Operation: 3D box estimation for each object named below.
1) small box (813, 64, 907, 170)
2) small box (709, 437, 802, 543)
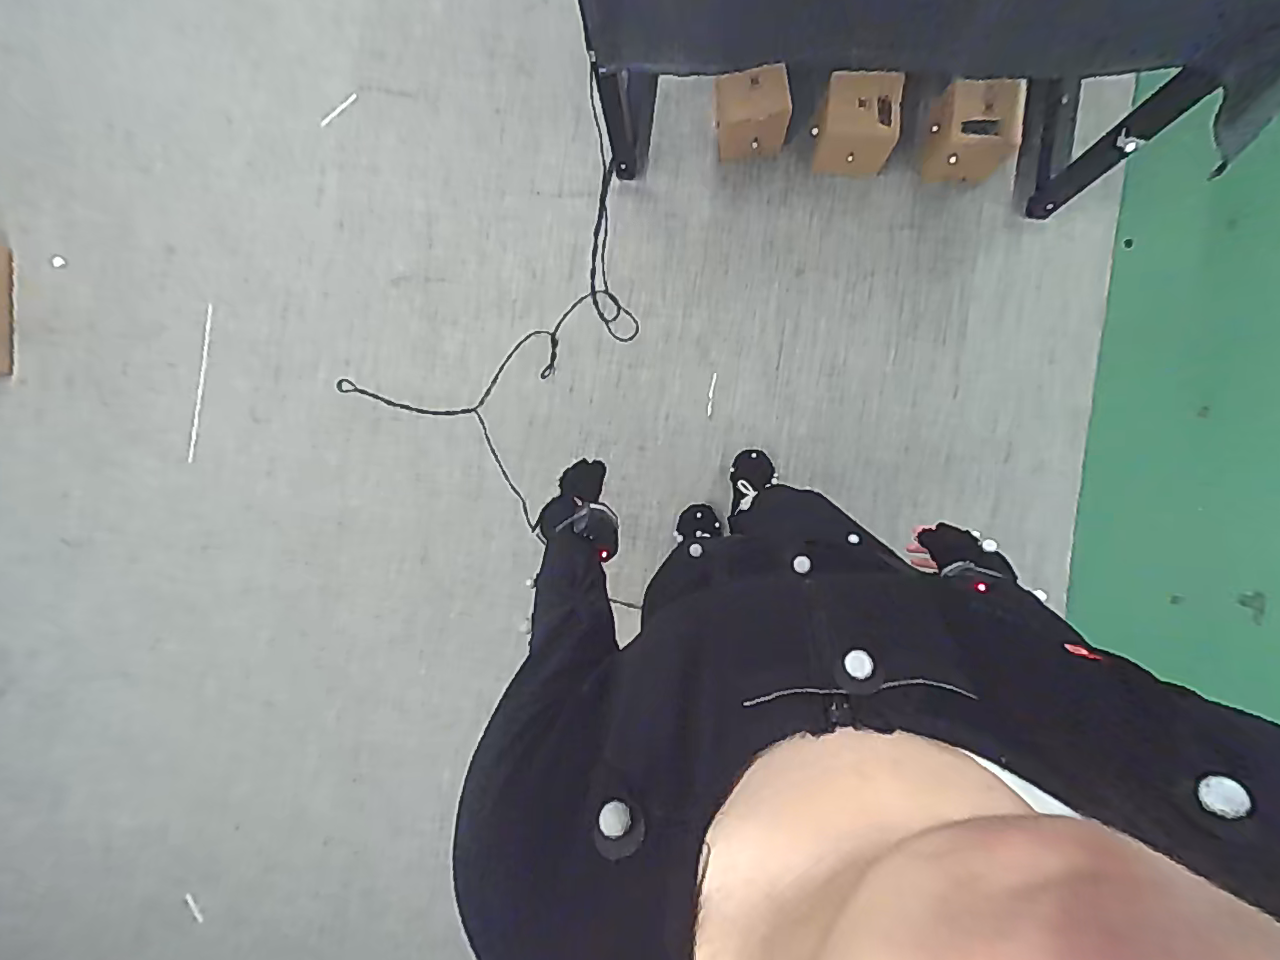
[{"bbox_3d":[0.561,-0.928,1.396,0.179,0.176,0.168,6,90,6],"label":"small box"},{"bbox_3d":[0.292,0.029,1.409,0.179,0.176,0.168,-38,58,-19],"label":"small box"}]
